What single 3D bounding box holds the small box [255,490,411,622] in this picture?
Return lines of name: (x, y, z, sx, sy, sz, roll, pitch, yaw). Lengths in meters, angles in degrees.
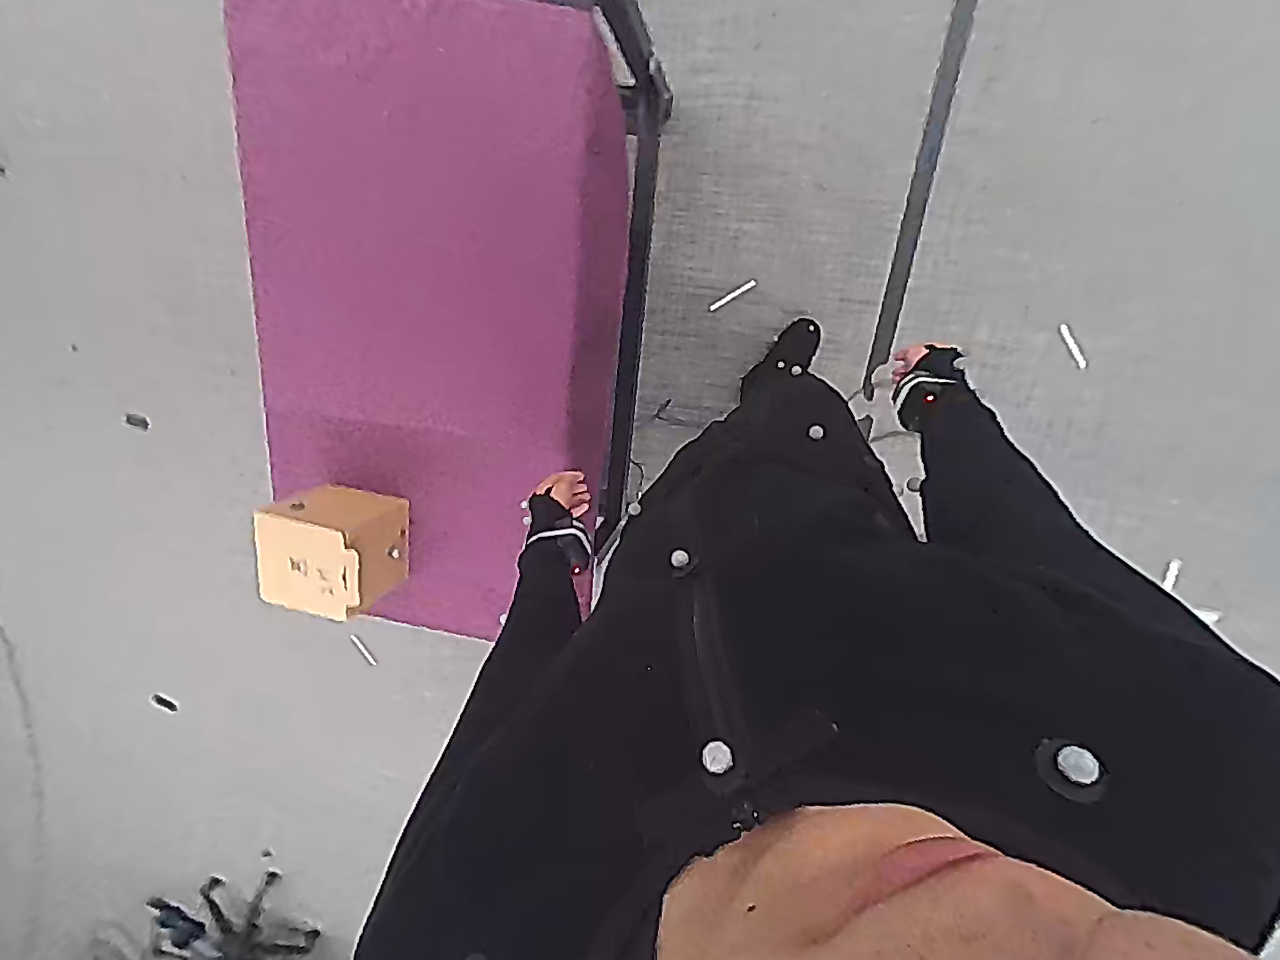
small box: (-0.540, 0.125, 0.968, 0.179, 0.176, 0.168, 10, 107, 9)
